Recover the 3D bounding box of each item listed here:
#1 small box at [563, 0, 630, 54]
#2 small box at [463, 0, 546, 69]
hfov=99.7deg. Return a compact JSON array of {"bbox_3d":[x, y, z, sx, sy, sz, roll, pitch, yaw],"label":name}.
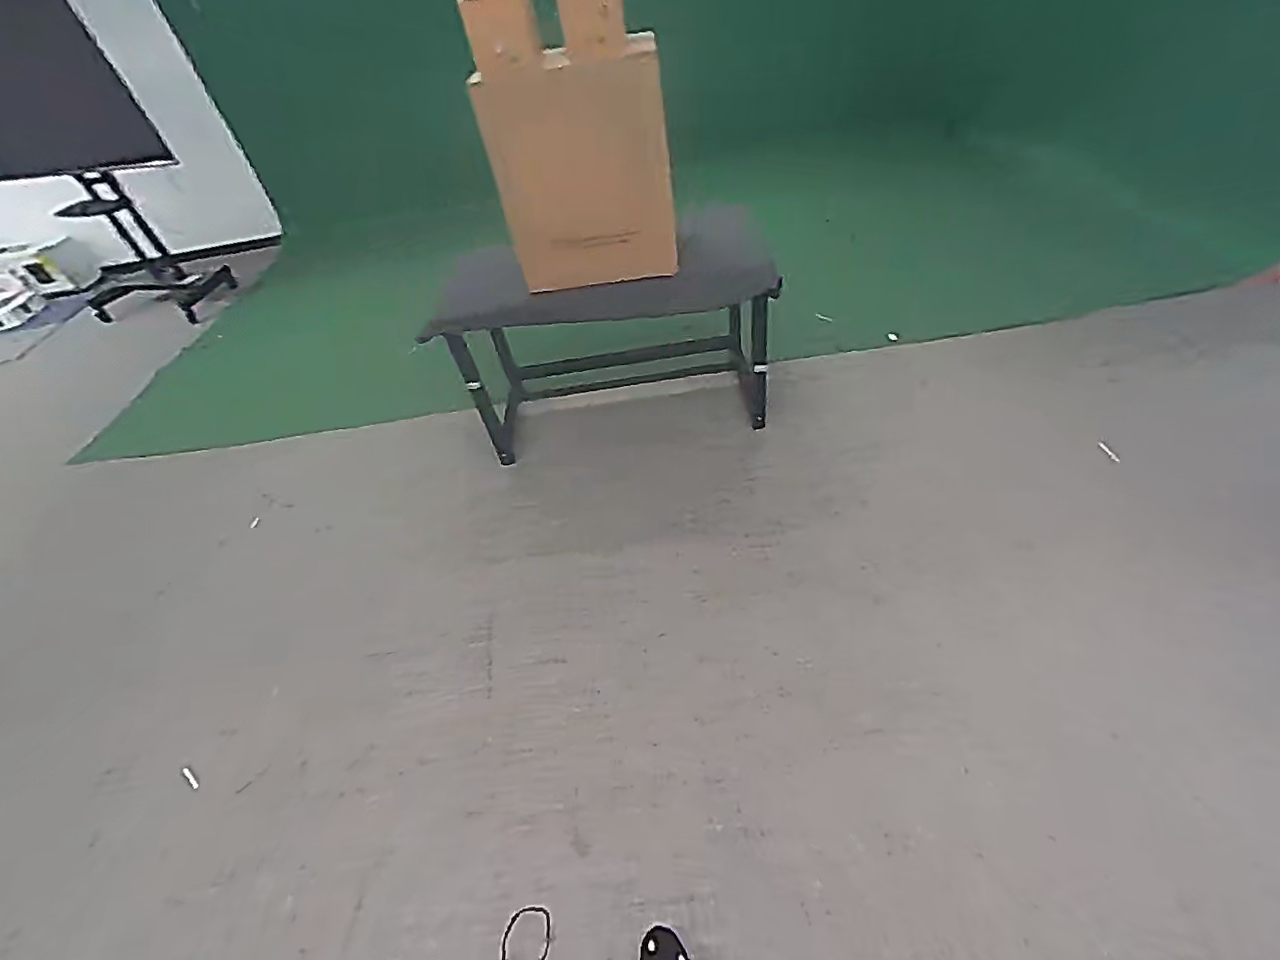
[{"bbox_3d":[-0.118,-1.279,1.469,0.168,0.176,0.179,-6,46,0],"label":"small box"},{"bbox_3d":[-0.363,-1.247,1.474,0.168,0.176,0.179,-4,47,8],"label":"small box"}]
